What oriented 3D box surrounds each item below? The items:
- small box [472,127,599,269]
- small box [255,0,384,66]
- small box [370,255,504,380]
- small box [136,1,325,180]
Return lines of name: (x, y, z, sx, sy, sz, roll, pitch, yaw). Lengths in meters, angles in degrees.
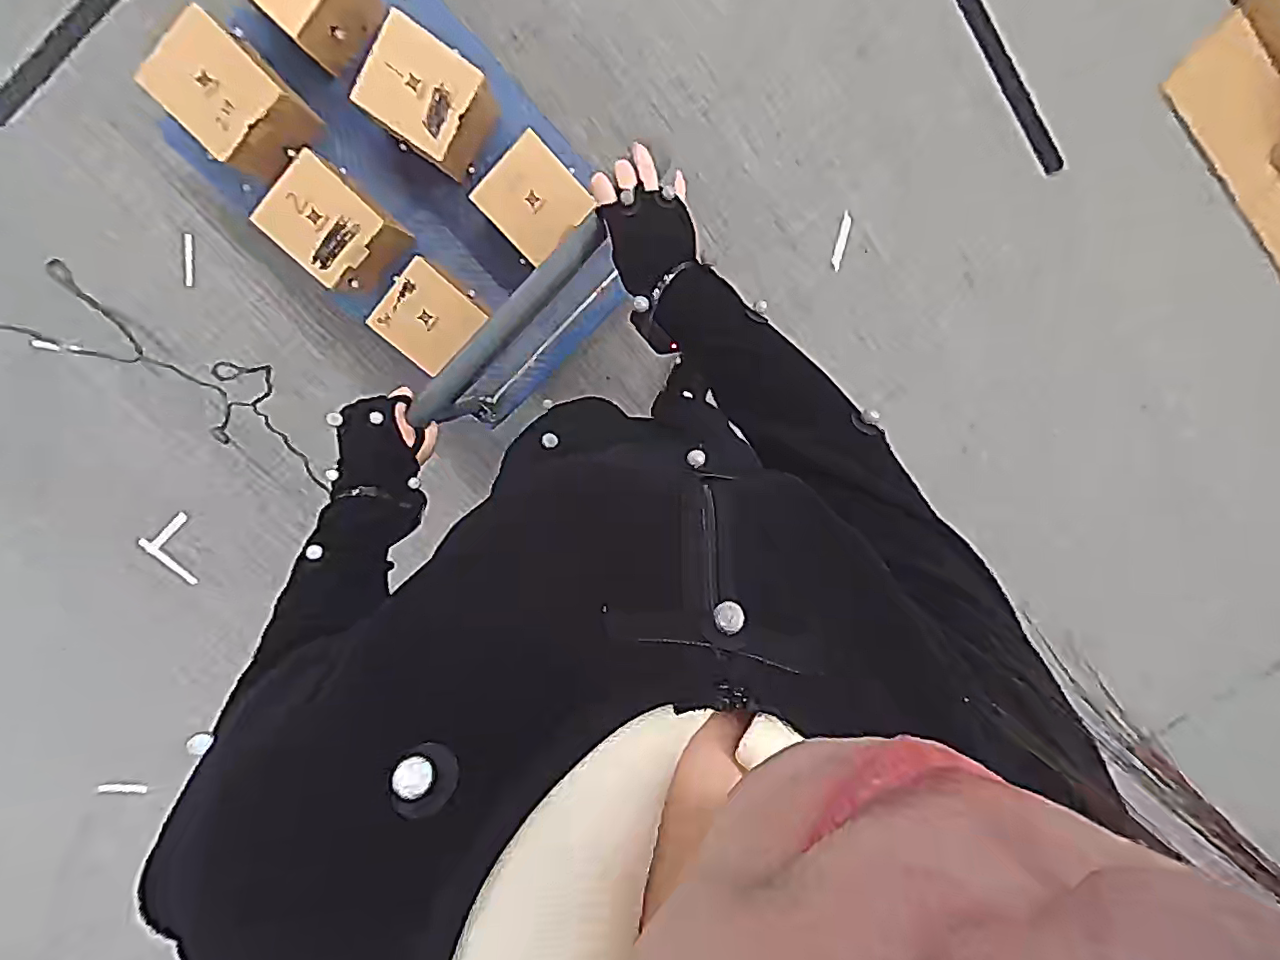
small box: (-0.195, -0.540, 1.069, 0.168, 0.176, 0.179, -44, 103, 7)
small box: (-0.588, -0.874, 0.944, 0.179, 0.176, 0.168, 41, 99, -13)
small box: (-0.403, -0.330, 1.110, 0.179, 0.176, 0.168, 40, 98, -14)
small box: (-0.728, -0.689, 0.984, 0.168, 0.176, 0.179, -42, 105, 8)
